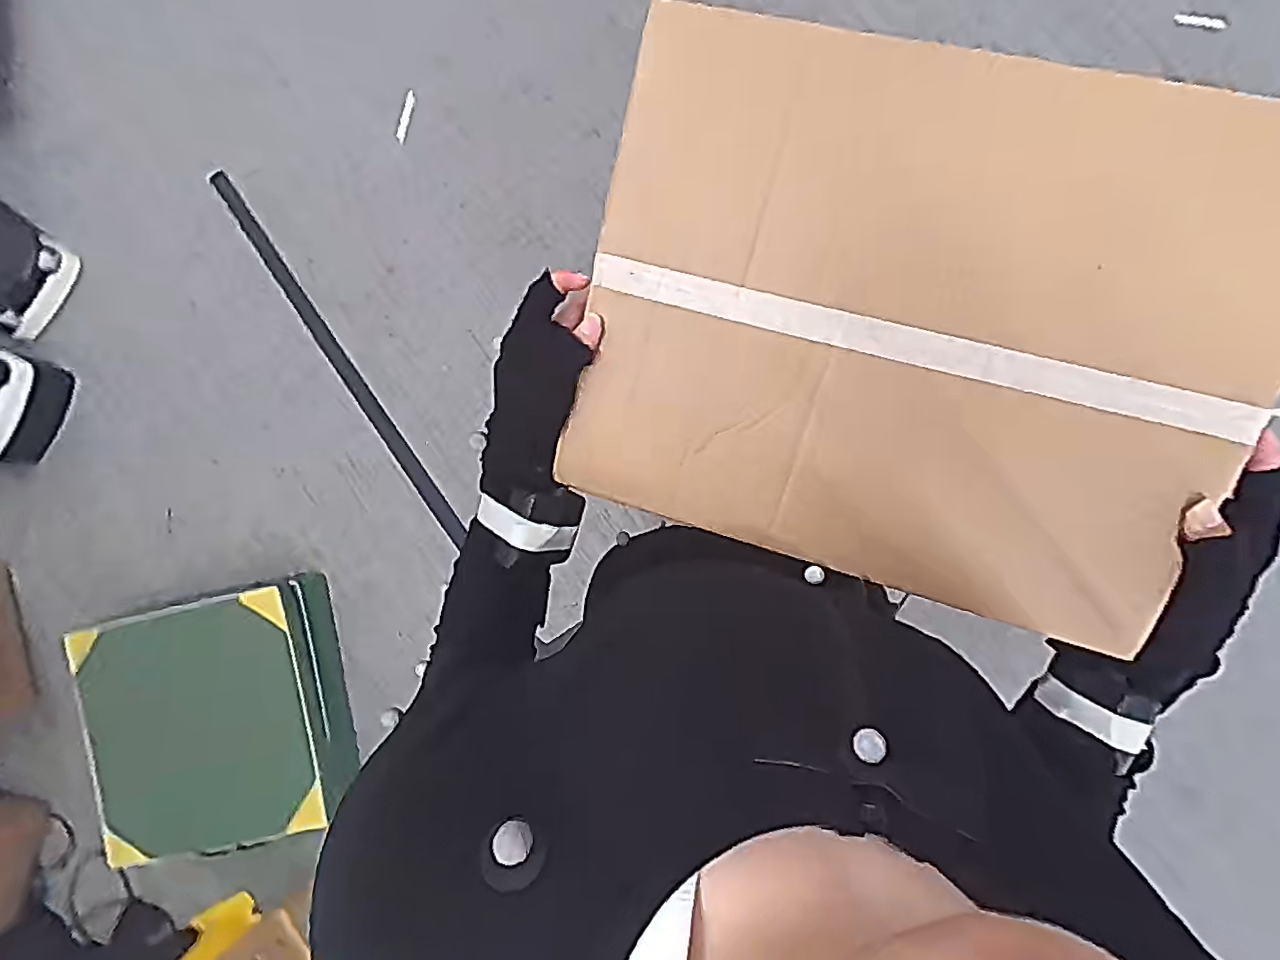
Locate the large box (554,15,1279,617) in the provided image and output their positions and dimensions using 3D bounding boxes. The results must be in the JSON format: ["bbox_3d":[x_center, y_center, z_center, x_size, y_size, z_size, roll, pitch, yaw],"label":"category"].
[{"bbox_3d":[0.185,-0.132,0.488,0.408,0.320,0.320,16,105,8],"label":"large box"}]
